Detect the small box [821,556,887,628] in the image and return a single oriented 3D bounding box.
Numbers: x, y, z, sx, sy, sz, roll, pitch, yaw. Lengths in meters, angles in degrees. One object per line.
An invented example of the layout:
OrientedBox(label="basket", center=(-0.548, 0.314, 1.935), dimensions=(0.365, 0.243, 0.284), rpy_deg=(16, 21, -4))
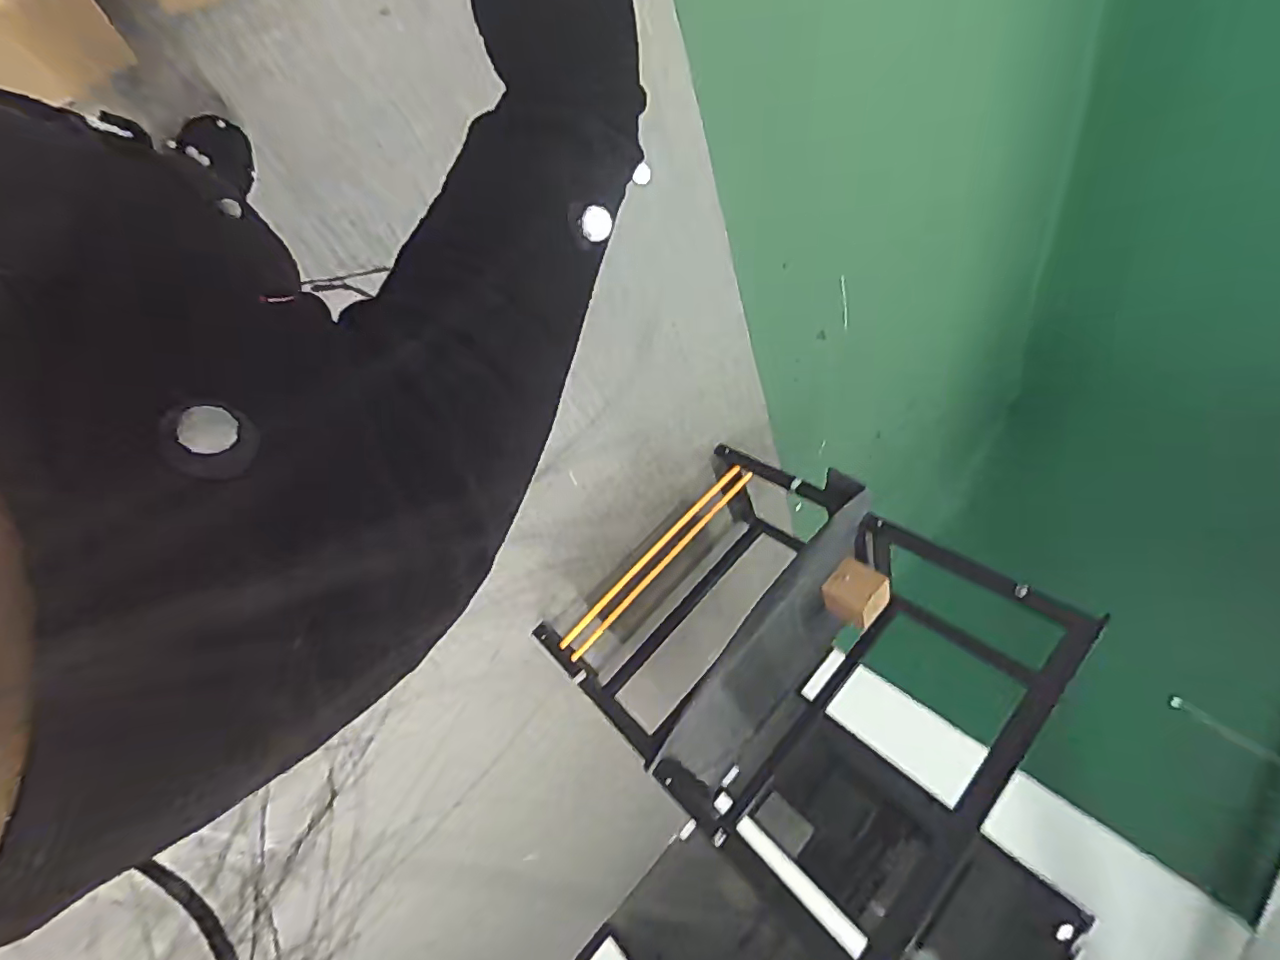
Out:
OrientedBox(label="small box", center=(0.804, 0.414, 2.029), dimensions=(0.168, 0.176, 0.179), rpy_deg=(-45, 137, -16))
